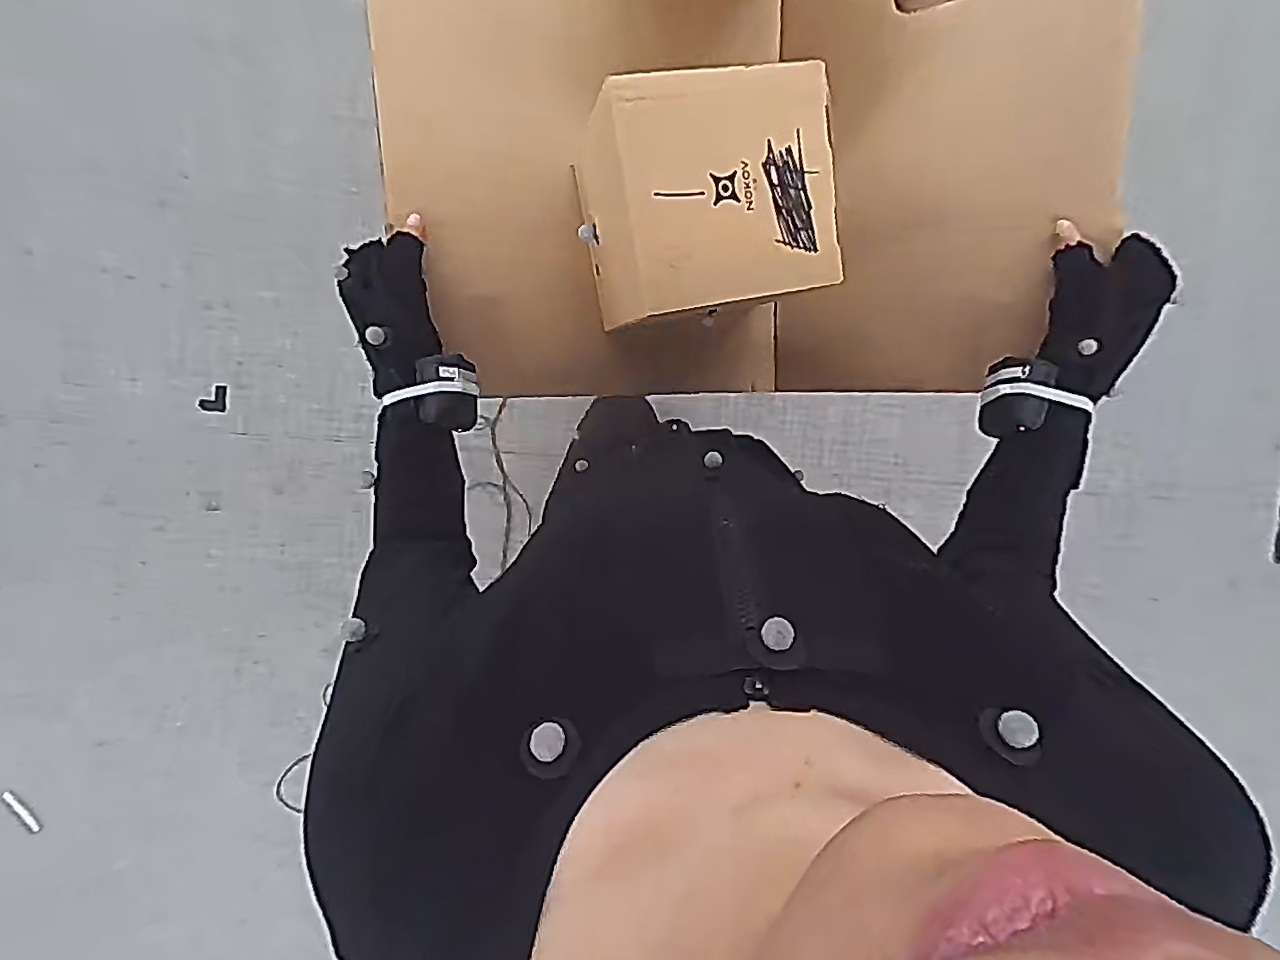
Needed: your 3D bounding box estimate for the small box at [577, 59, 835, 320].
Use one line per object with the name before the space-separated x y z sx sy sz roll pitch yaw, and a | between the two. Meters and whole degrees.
small box | 0.051 -0.249 0.499 0.179 0.176 0.168 -13 103 -12
